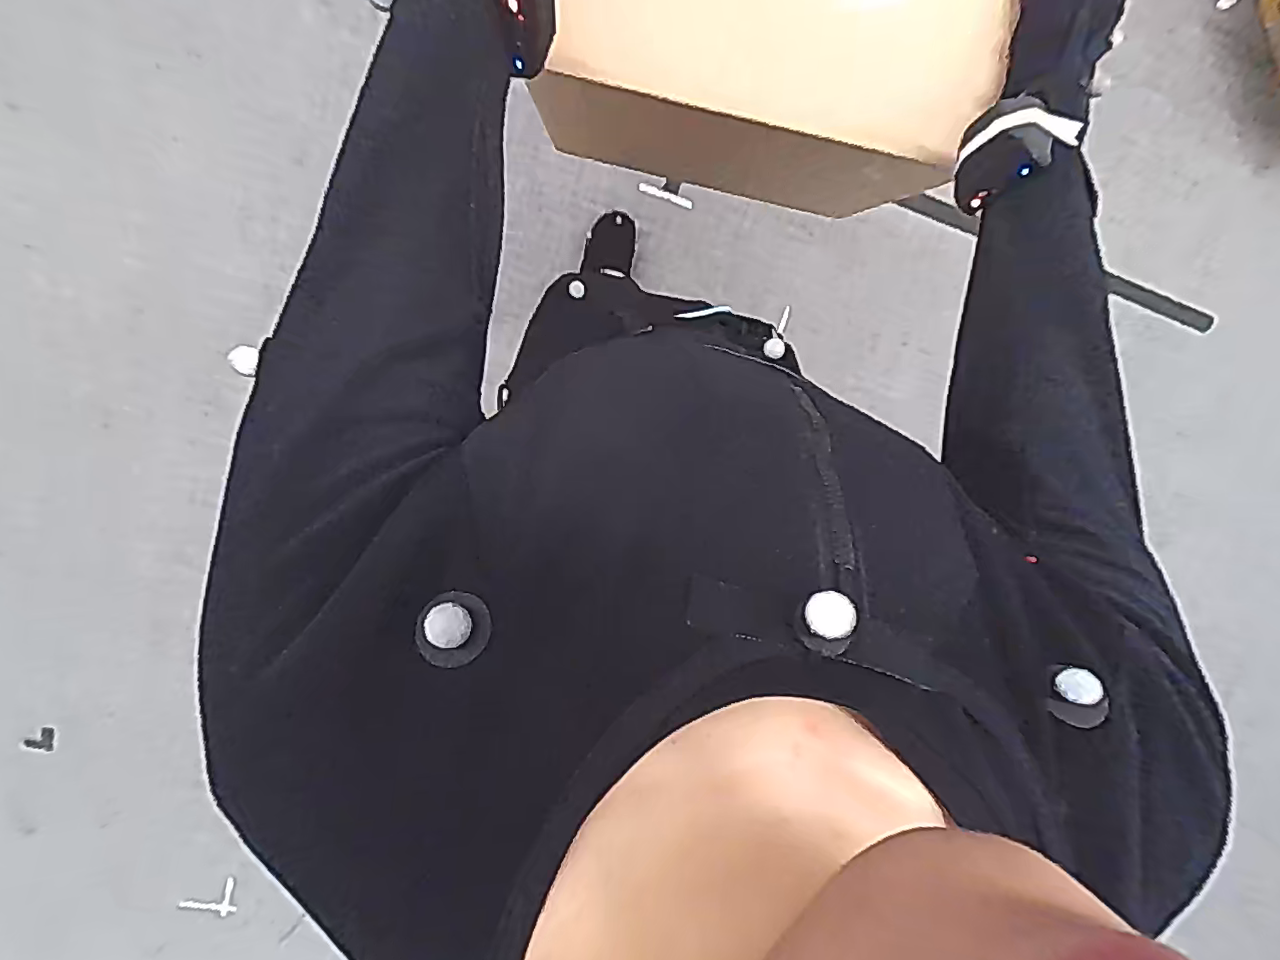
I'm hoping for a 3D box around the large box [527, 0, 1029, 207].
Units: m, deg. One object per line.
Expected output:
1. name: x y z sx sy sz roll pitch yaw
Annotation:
1. large box: 0.122 -0.505 0.549 0.408 0.320 0.320 11 110 -6
